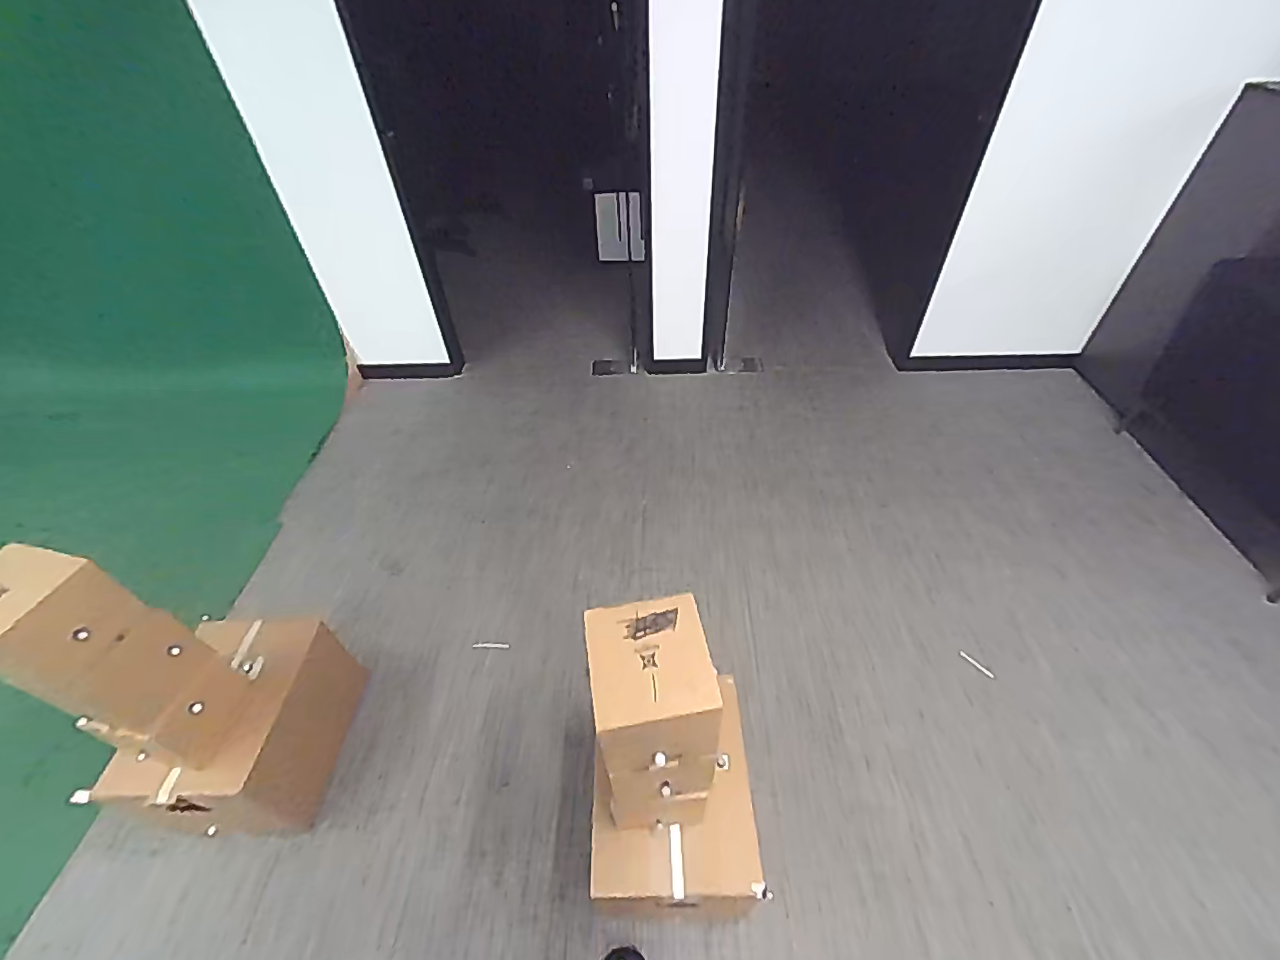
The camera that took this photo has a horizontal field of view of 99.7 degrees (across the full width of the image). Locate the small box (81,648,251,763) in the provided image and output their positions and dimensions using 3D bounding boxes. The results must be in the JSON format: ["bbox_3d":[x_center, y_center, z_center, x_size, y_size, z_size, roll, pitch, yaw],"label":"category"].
[{"bbox_3d":[-0.961,0.458,1.123,0.168,0.176,0.179,6,46,9],"label":"small box"}]

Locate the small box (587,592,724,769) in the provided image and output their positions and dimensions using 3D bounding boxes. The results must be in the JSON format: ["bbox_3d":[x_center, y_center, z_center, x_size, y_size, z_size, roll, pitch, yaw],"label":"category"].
[{"bbox_3d":[0.018,0.292,0.791,0.168,0.176,0.179,-9,46,-4],"label":"small box"}]

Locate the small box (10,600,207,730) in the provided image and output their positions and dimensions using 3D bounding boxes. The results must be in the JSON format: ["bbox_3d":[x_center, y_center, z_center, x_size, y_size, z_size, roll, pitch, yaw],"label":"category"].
[{"bbox_3d":[-0.971,0.337,1.015,0.168,0.176,0.179,8,47,12],"label":"small box"}]

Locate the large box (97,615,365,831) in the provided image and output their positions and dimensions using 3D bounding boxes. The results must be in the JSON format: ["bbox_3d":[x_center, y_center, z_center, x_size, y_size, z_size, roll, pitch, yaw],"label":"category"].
[{"bbox_3d":[-0.948,0.592,1.332,0.320,0.320,0.408,-1,44,1],"label":"large box"}]

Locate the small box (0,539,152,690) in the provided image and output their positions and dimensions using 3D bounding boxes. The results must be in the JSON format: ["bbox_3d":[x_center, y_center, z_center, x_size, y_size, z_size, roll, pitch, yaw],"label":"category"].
[{"bbox_3d":[-0.986,0.225,0.895,0.179,0.176,0.168,9,46,12],"label":"small box"}]

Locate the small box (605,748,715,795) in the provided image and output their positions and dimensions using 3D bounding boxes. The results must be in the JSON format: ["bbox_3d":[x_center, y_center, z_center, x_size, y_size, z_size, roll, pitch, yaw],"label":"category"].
[{"bbox_3d":[0.025,0.409,0.907,0.168,0.176,0.179,-8,46,-4],"label":"small box"}]
